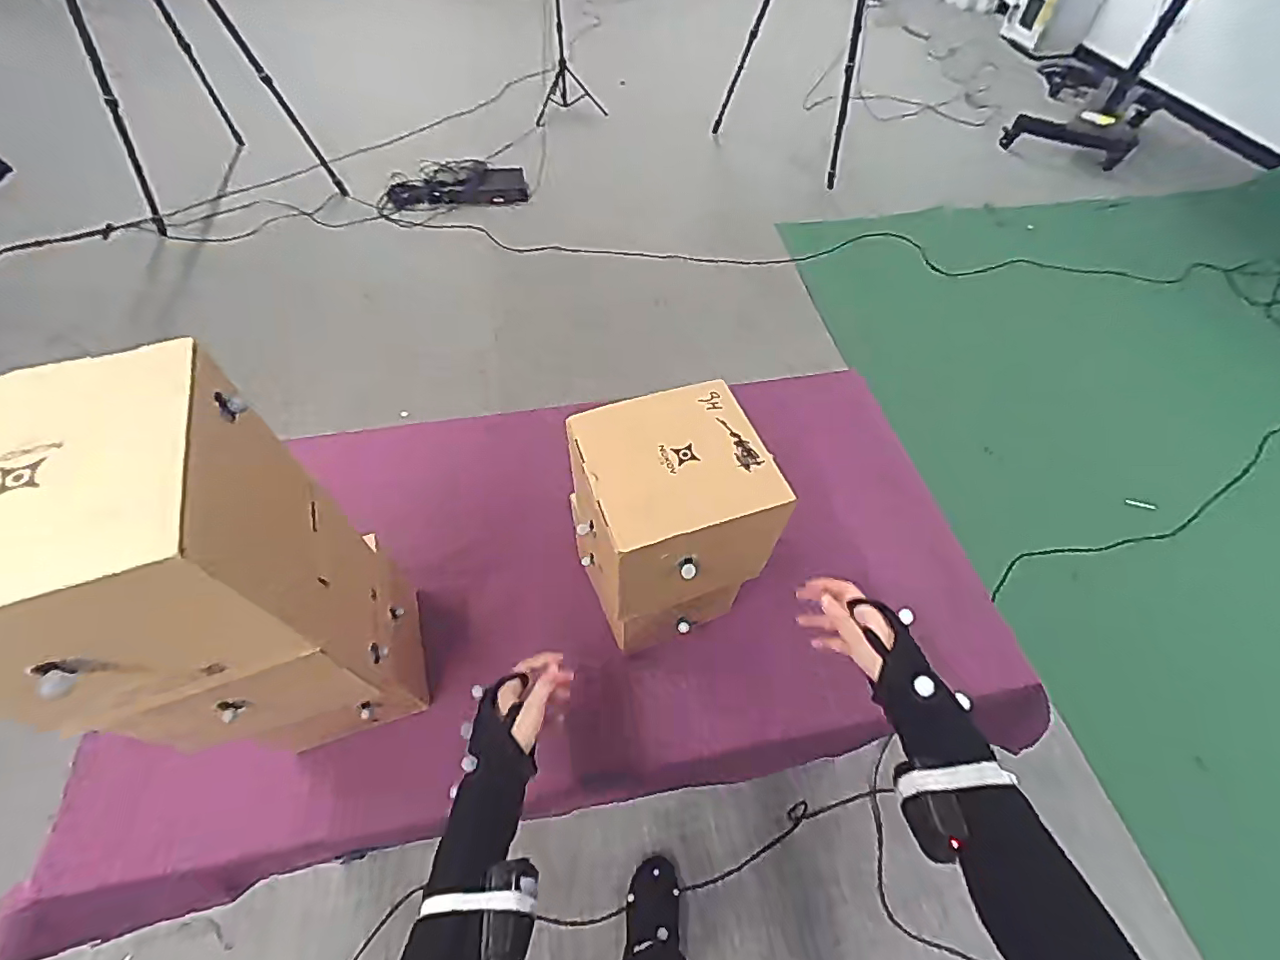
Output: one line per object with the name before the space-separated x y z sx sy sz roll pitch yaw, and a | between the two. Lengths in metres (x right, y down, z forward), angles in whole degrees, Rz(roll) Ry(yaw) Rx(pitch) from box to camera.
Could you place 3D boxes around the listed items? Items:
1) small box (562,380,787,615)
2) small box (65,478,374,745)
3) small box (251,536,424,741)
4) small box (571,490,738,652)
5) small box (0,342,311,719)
small box | 0.028 0.024 0.581 0.179 0.176 0.168 -15 58 -12
small box | -0.364 0.126 0.504 0.179 0.176 0.168 -14 57 -11
small box | -0.372 0.197 0.653 0.168 0.176 0.179 -13 56 -12
small box | 0.016 0.102 0.727 0.168 0.176 0.179 -20 59 -14
small box | -0.347 0.042 0.365 0.168 0.176 0.179 -17 58 -14
